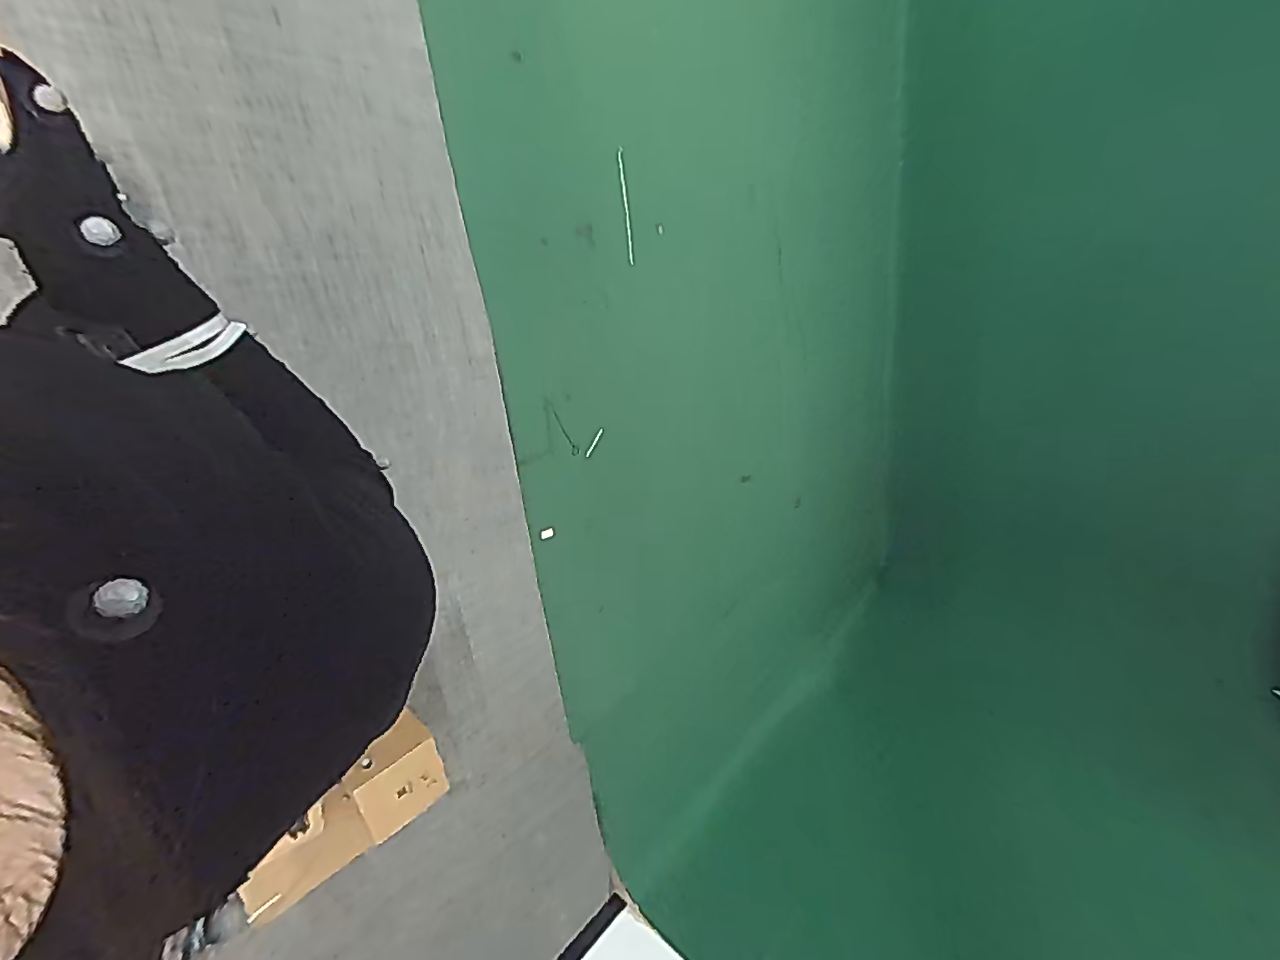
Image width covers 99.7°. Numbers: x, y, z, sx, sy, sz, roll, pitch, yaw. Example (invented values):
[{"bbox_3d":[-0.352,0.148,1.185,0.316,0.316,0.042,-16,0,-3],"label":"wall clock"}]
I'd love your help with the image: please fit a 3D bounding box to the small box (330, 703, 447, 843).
[{"bbox_3d":[-0.567,0.643,1.208,0.179,0.176,0.168,-26,119,-40],"label":"small box"}]
